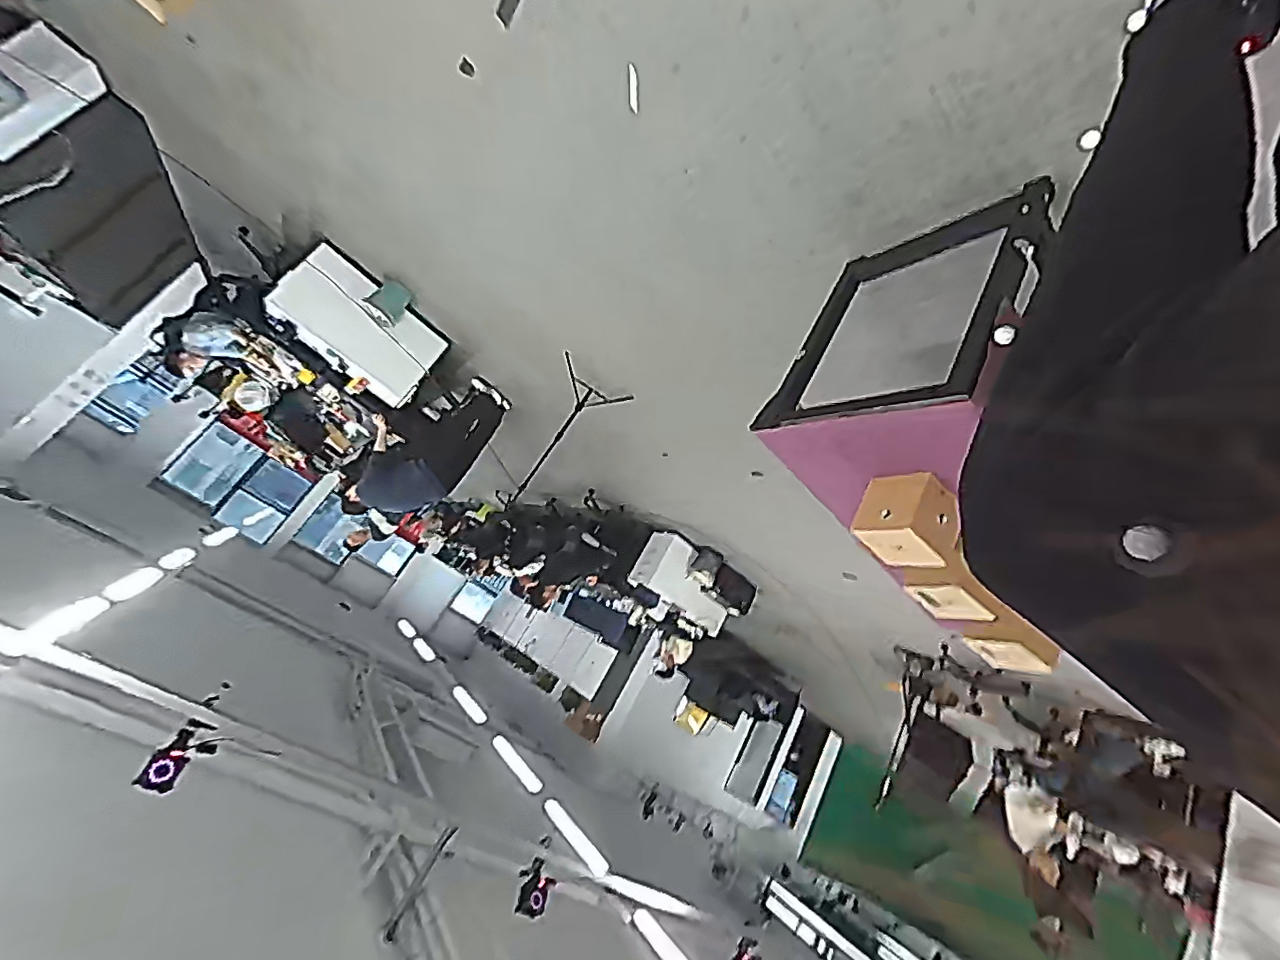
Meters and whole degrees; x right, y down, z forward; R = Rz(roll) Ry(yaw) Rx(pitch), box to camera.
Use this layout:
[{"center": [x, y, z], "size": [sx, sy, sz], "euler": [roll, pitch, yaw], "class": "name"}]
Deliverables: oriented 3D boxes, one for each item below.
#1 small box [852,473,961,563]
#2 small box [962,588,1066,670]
[{"center": [0.683, 0.095, 1.374], "size": [0.168, 0.176, 0.179], "euler": [38, 160, -19], "class": "small box"}, {"center": [1.097, 0.430, 1.586], "size": [0.168, 0.176, 0.179], "euler": [35, 160, -13], "class": "small box"}]
